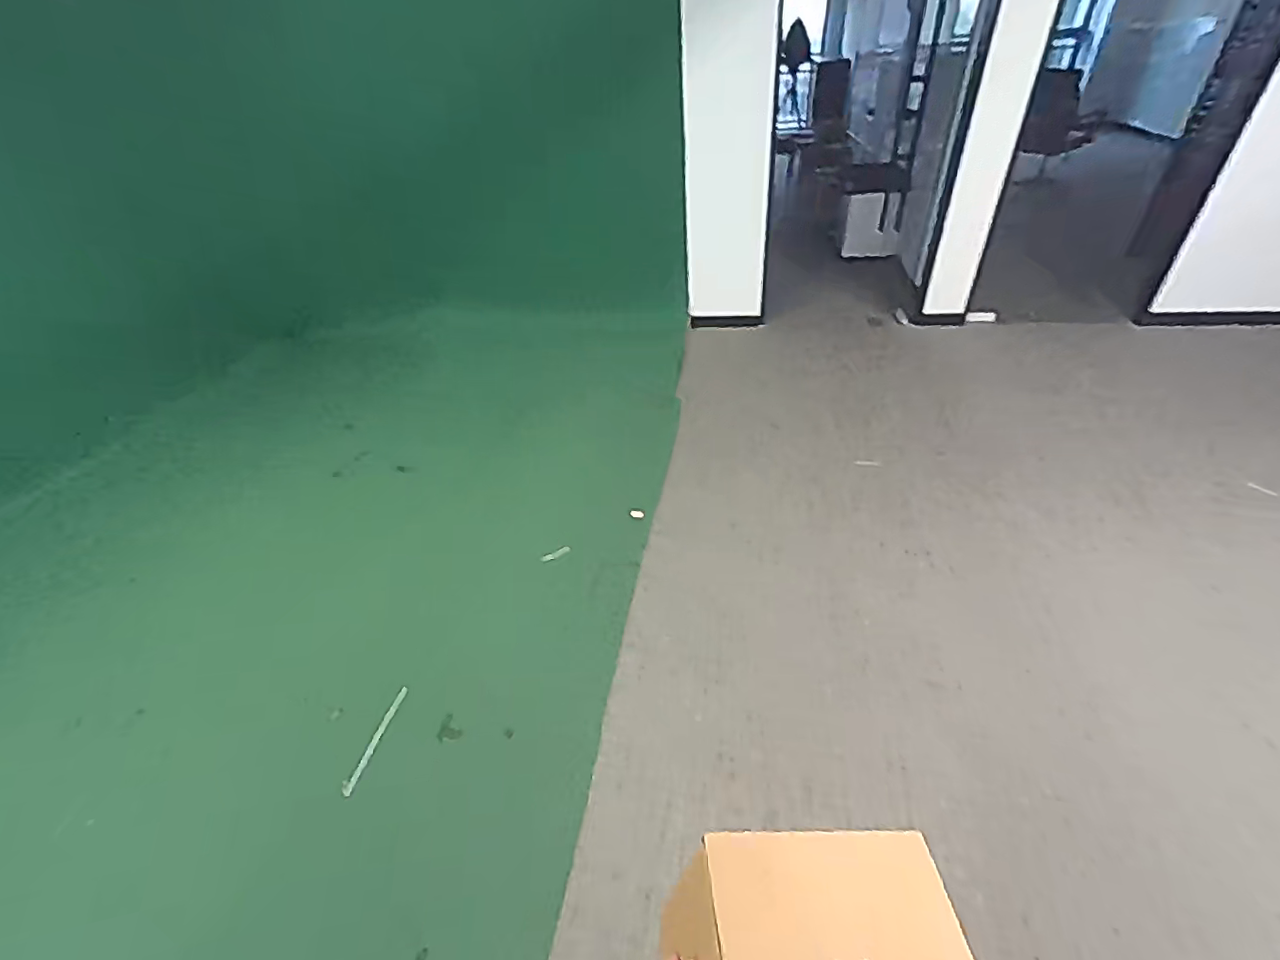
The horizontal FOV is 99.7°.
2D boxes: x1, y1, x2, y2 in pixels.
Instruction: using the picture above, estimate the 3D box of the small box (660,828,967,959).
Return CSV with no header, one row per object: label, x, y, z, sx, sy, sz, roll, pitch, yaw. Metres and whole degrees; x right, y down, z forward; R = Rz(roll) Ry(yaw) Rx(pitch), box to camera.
small box,0.113,0.367,0.366,0.168,0.176,0.179,5,37,-9
